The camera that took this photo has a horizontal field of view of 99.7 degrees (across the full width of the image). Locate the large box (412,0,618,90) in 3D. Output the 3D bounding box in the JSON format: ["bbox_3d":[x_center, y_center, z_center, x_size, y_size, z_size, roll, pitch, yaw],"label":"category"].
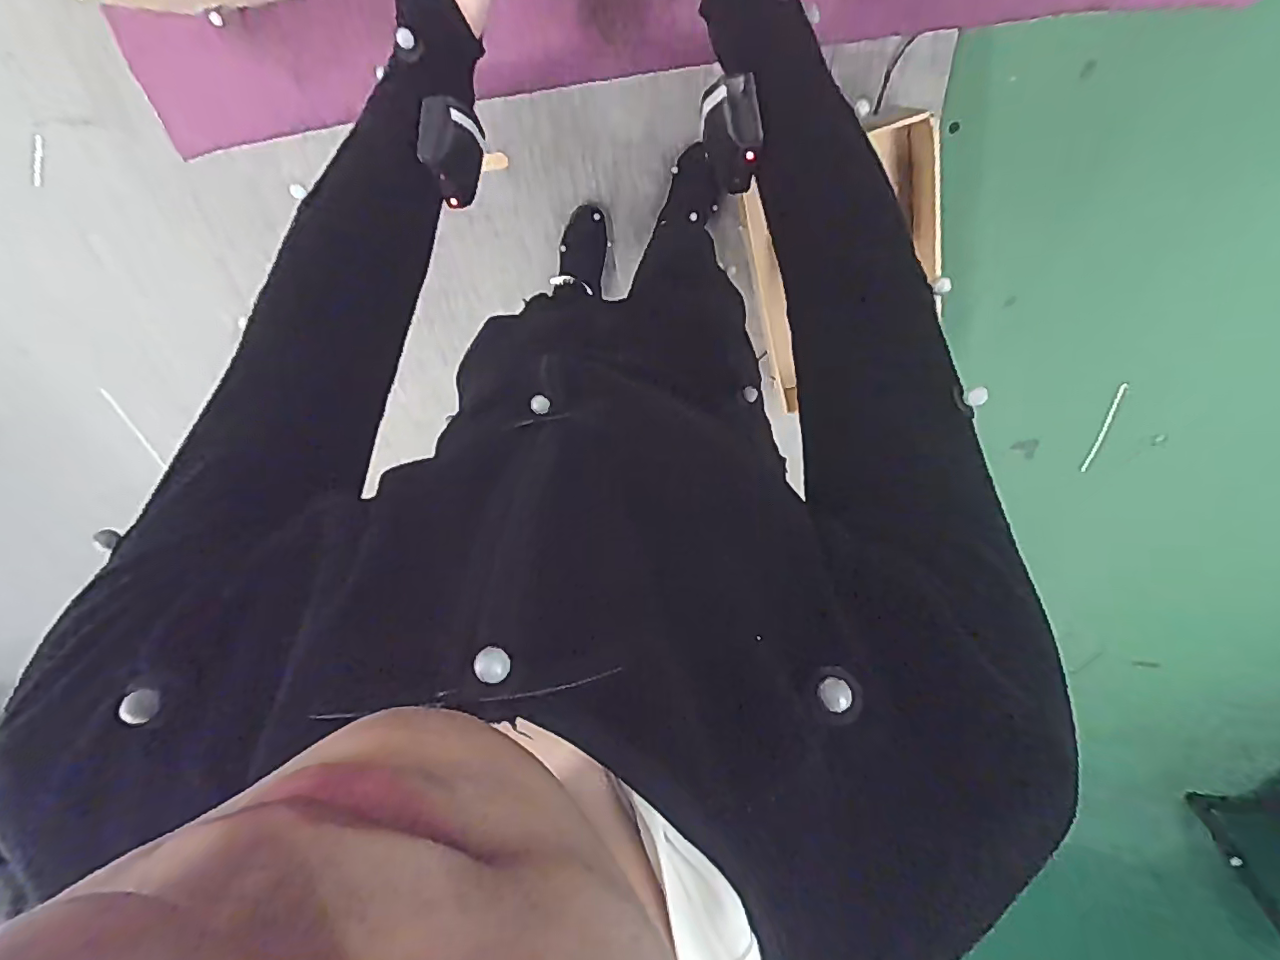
[{"bbox_3d":[-0.238,-0.975,0.971,0.320,0.320,0.408,-6,125,8],"label":"large box"}]

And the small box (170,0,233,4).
[{"bbox_3d":[-0.420,-0.548,0.475,0.168,0.176,0.179,-5,125,7],"label":"small box"}]
